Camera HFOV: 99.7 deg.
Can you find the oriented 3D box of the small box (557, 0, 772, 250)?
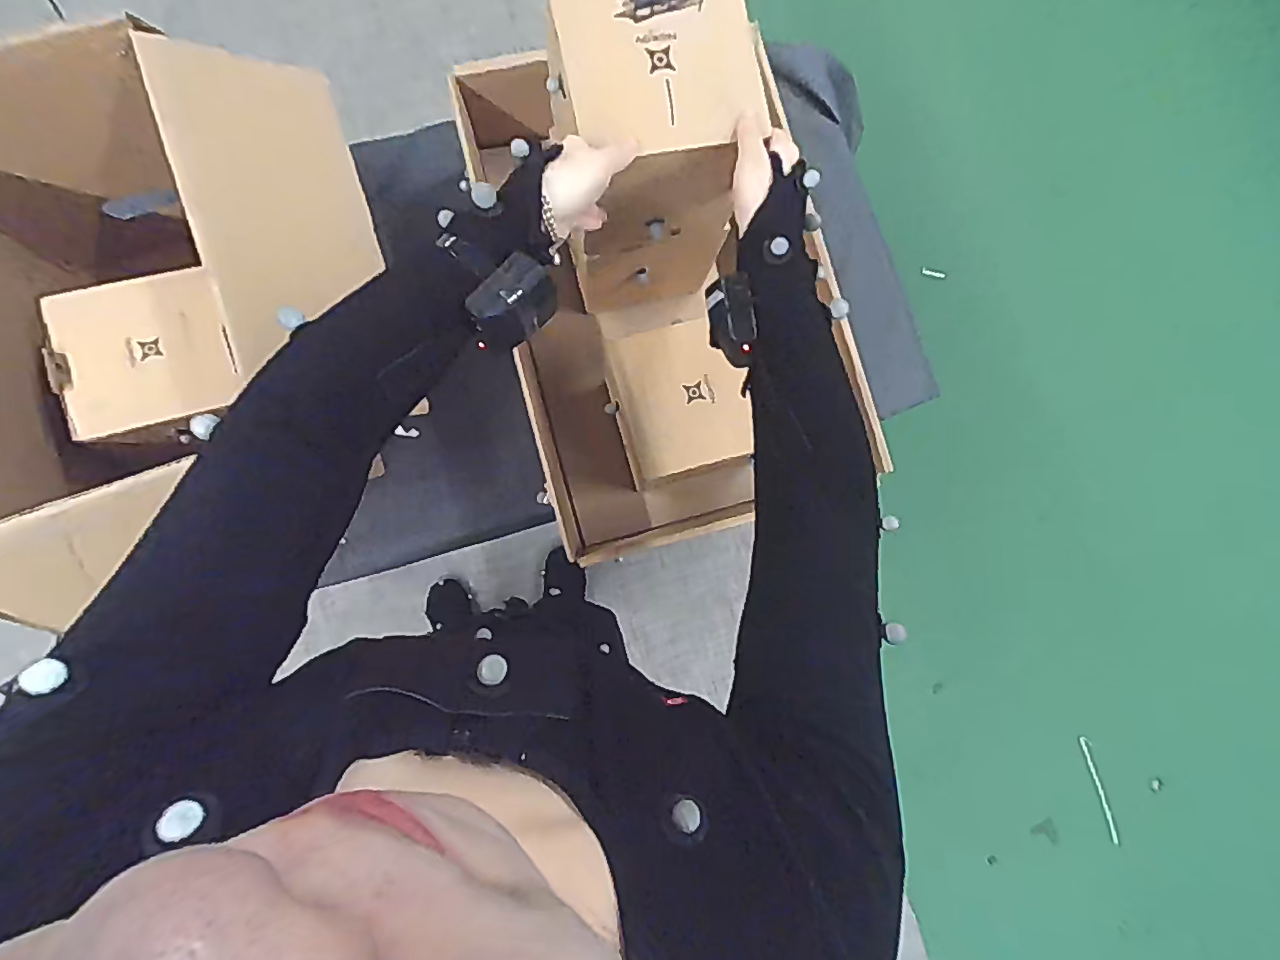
[{"bbox_3d":[0.010,-0.357,0.538,0.168,0.176,0.179,-11,91,-8],"label":"small box"}]
